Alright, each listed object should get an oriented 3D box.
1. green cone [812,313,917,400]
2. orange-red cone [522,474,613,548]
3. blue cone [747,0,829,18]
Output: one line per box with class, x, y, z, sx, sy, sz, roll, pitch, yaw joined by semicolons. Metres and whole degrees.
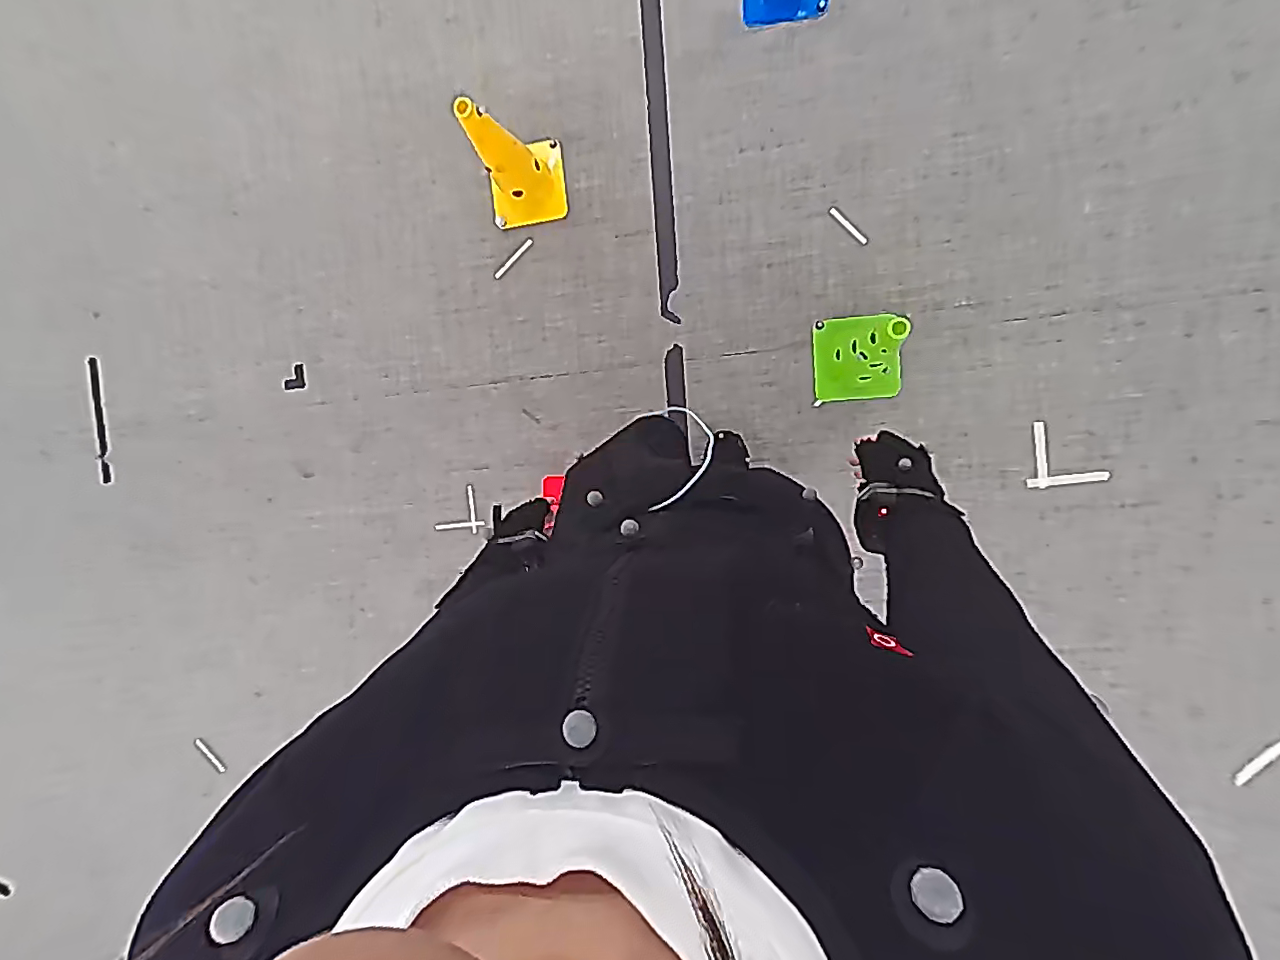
green cone;0.501;-0.287;1.150;0.202;0.368;0.200;-4;94;9
orange-red cone;-0.202;0.094;1.304;0.199;0.360;0.198;1;93;11
blue cone;0.326;-1.189;1.121;0.192;0.380;0.193;0;95;9
